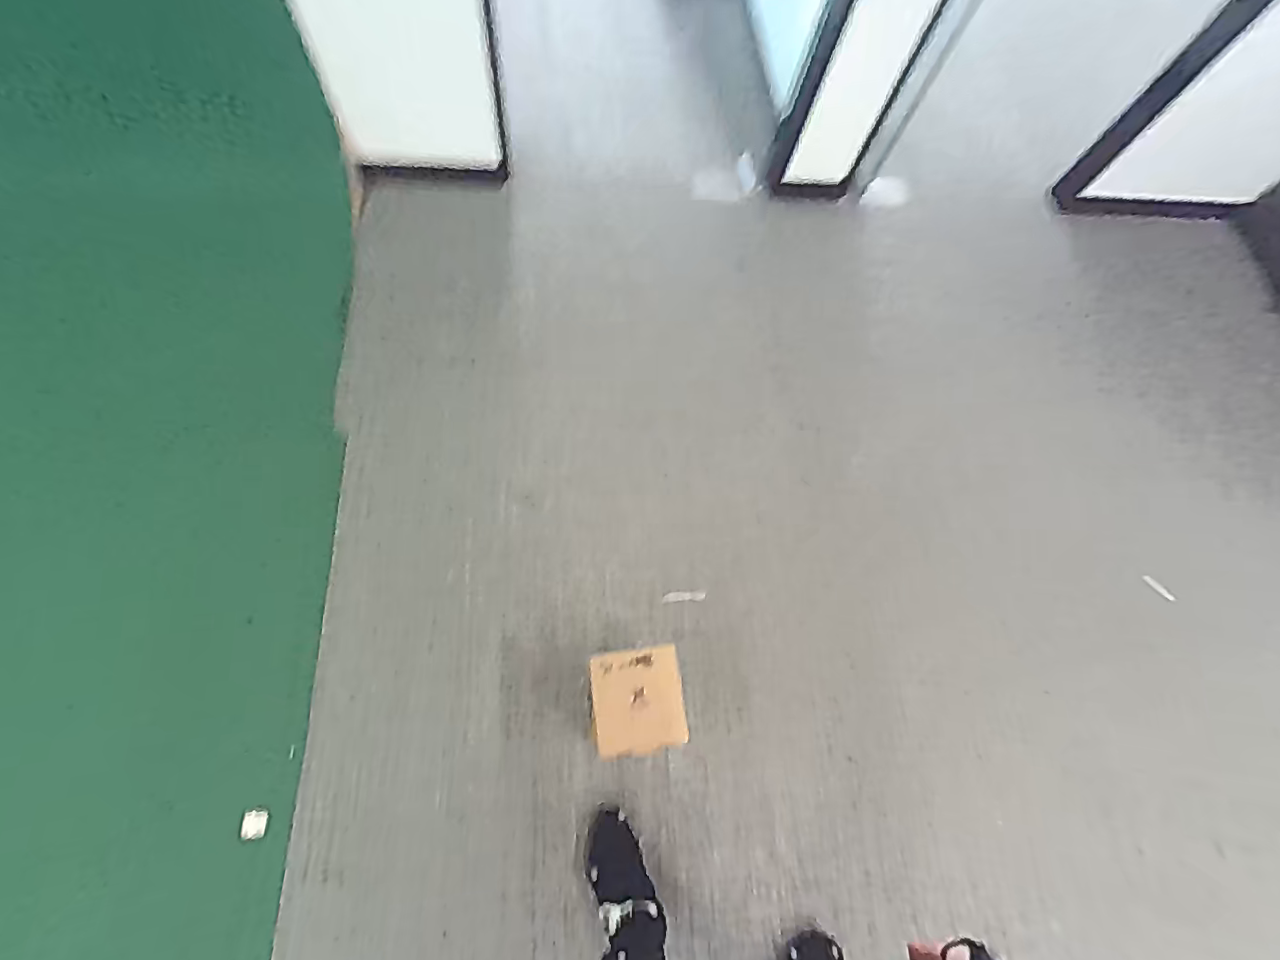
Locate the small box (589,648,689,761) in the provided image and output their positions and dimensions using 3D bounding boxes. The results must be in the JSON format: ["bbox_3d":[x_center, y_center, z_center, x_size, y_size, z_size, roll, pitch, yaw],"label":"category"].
[{"bbox_3d":[-0.009,0.436,1.068,0.168,0.176,0.179,-5,69,-10],"label":"small box"}]
